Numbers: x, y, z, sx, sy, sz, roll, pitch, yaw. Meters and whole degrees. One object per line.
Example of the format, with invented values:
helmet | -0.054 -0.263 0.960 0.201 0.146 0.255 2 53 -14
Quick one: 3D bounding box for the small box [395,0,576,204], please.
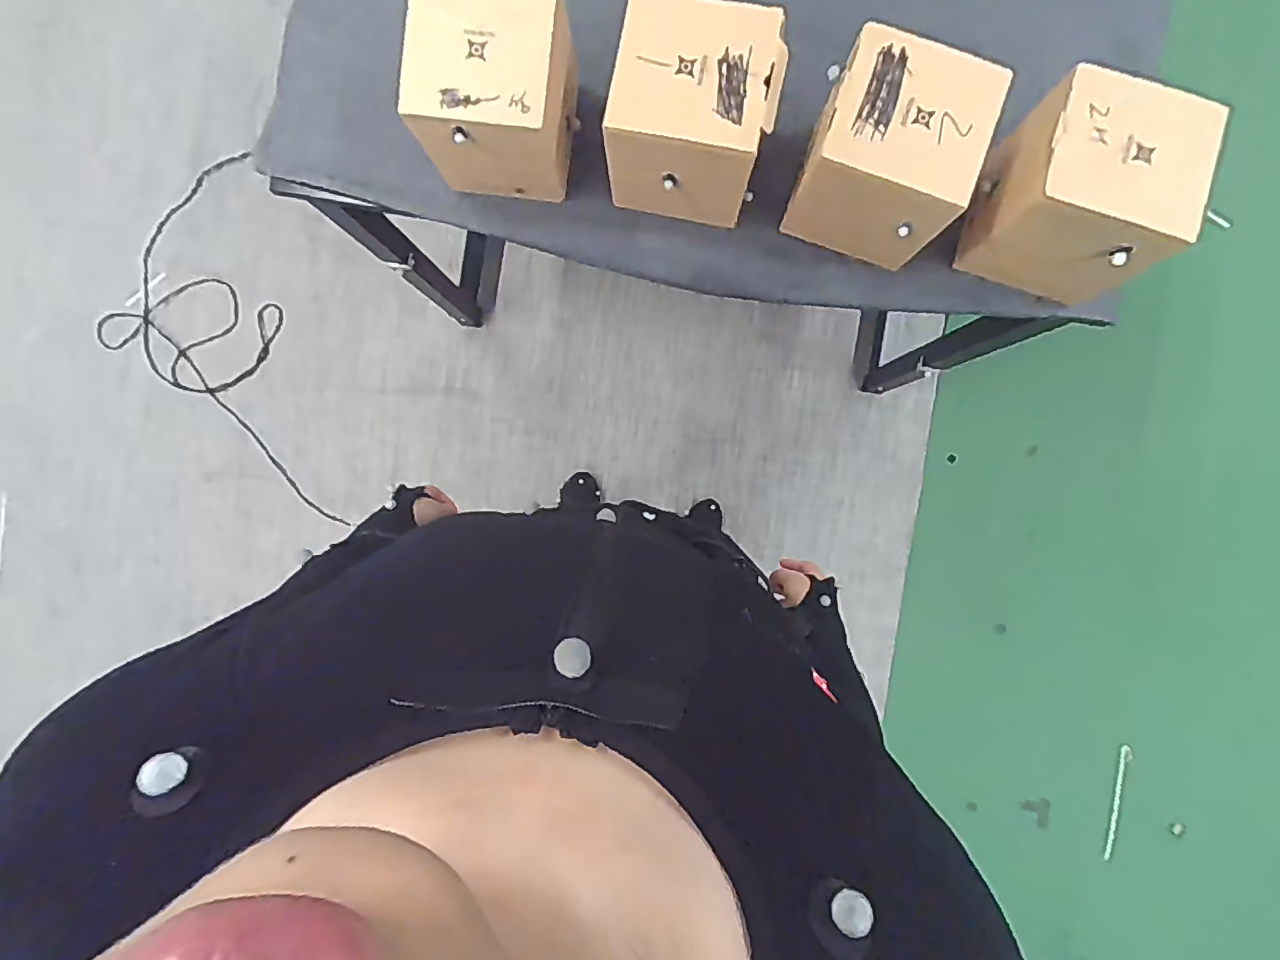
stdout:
small box | -0.179 -0.484 0.680 0.168 0.176 0.179 7 90 2
